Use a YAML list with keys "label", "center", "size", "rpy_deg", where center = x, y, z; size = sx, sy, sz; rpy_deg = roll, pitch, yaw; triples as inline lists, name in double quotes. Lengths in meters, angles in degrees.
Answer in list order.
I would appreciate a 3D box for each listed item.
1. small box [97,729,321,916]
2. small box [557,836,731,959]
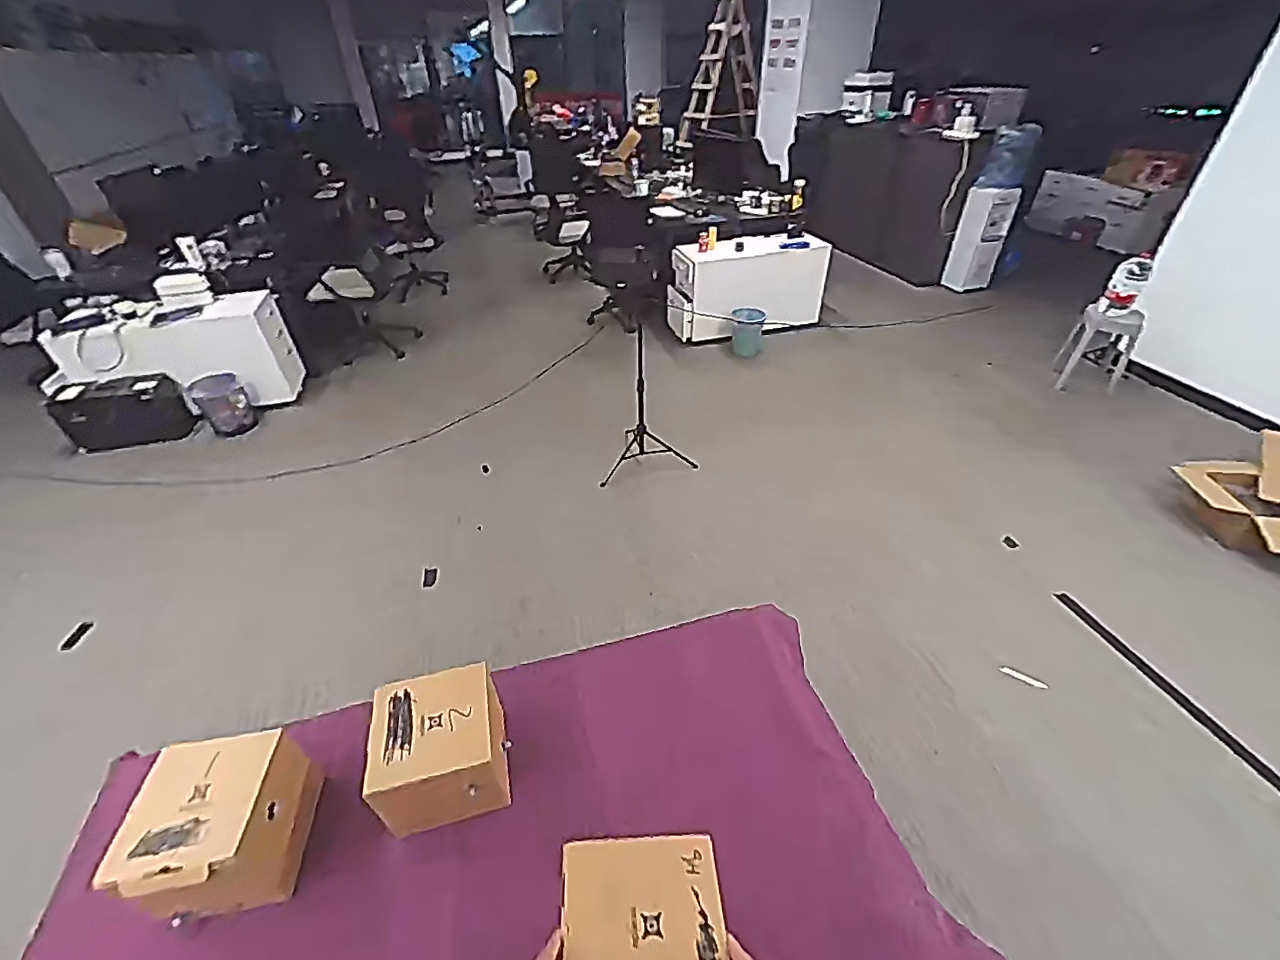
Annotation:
- label: "small box"
  center: [-0.593, 0.496, 0.780]
  size: [0.168, 0.176, 0.179]
  rpy_deg: [-7, 39, -7]
- label: "small box"
  center: [0.000, 0.530, 0.610]
  size: [0.179, 0.176, 0.168]
  rpy_deg: [1, 37, -5]
